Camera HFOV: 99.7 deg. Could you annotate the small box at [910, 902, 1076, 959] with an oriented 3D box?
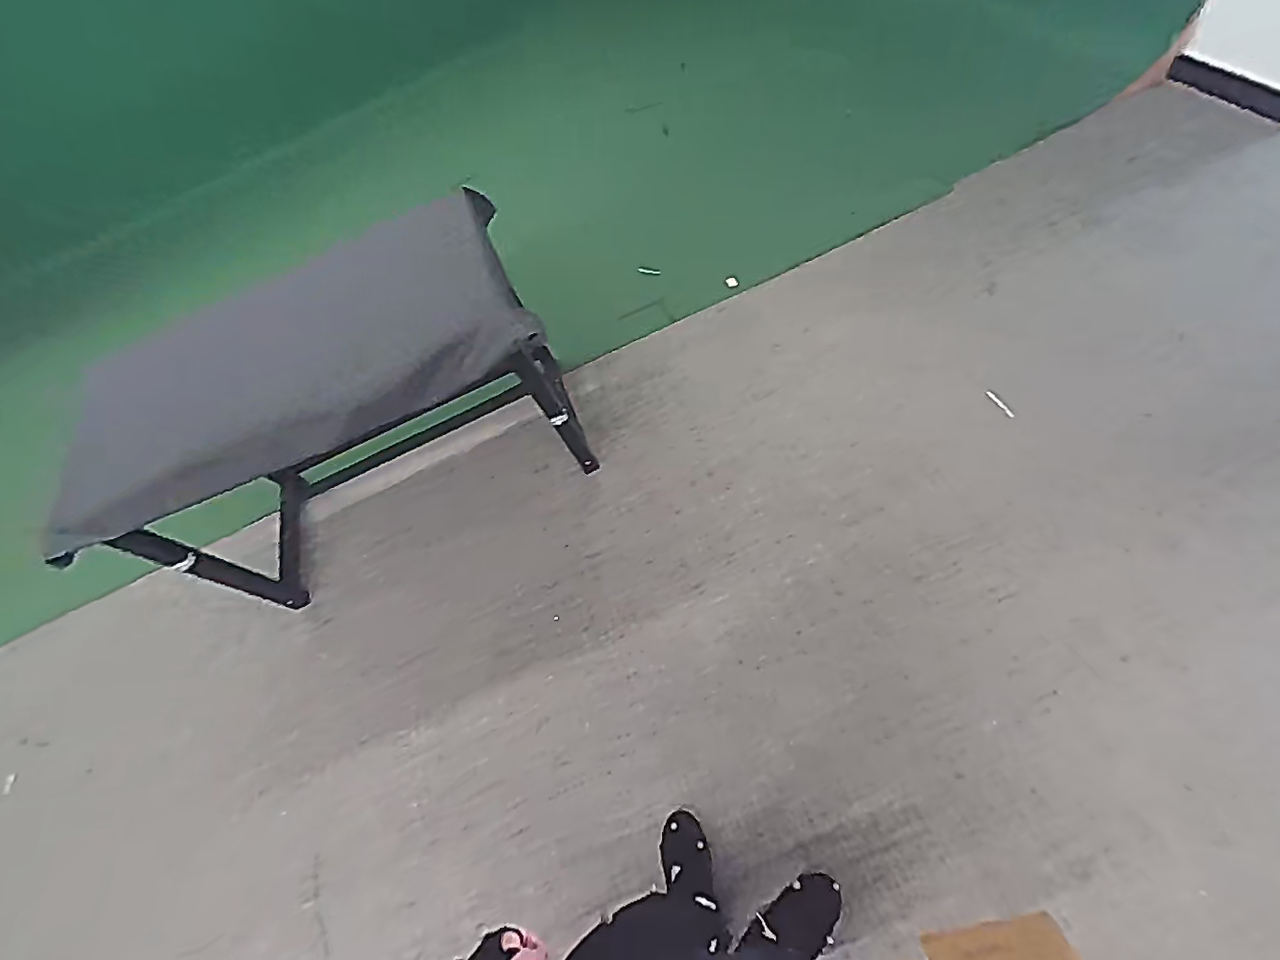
[{"bbox_3d":[0.439,0.637,0.608,0.168,0.179,0.176,-22,83,12],"label":"small box"}]
